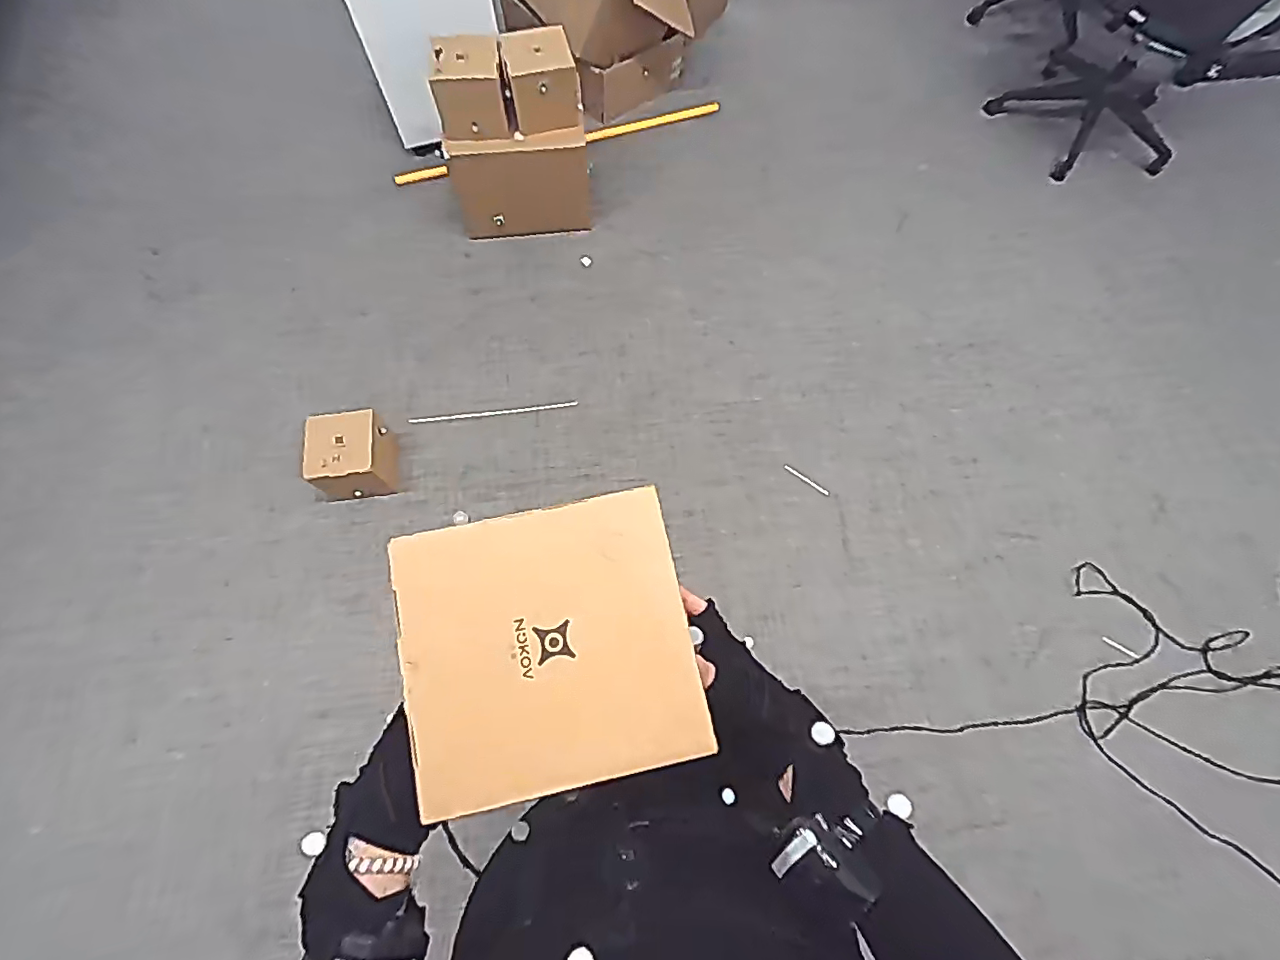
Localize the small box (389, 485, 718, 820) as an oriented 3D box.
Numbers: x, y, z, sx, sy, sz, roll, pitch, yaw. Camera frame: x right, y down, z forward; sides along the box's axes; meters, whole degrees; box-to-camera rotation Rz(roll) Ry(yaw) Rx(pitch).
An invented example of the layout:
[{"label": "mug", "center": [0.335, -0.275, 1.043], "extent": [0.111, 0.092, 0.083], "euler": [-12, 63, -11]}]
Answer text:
[{"label": "small box", "center": [-0.056, 0.113, 0.401], "extent": [0.179, 0.176, 0.168], "euler": [-12, 77, -3]}]

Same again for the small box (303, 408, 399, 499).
[{"label": "small box", "center": [-0.750, -0.066, 1.419], "extent": [0.168, 0.176, 0.179], "euler": [-8, 70, -4]}]
